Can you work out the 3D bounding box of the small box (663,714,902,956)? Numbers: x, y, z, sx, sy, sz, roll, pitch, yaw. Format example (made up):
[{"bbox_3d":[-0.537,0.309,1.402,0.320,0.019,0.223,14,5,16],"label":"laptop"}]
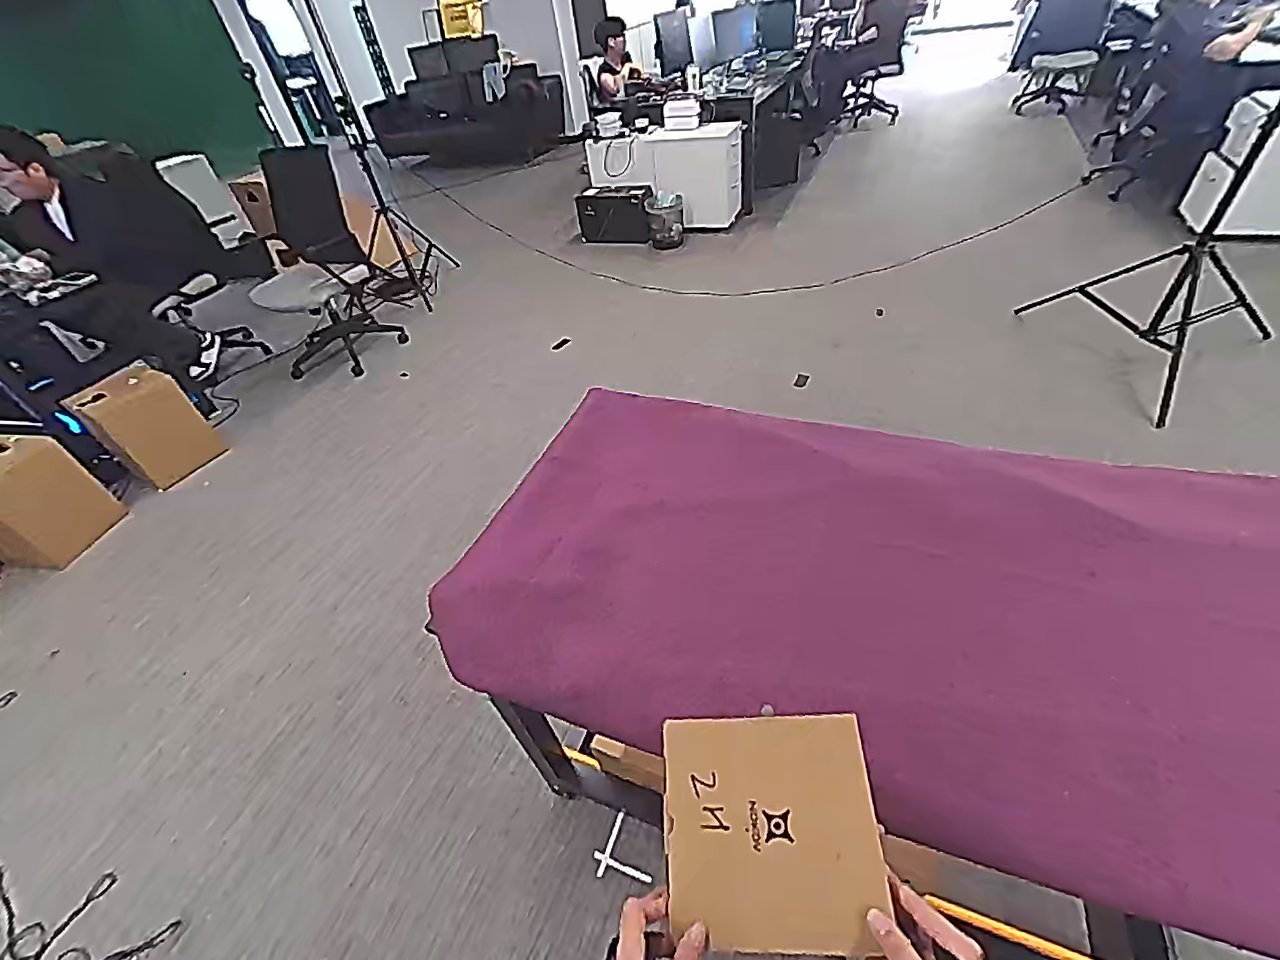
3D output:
[{"bbox_3d":[0.122,0.323,0.512,0.179,0.176,0.168,-7,57,11],"label":"small box"}]
